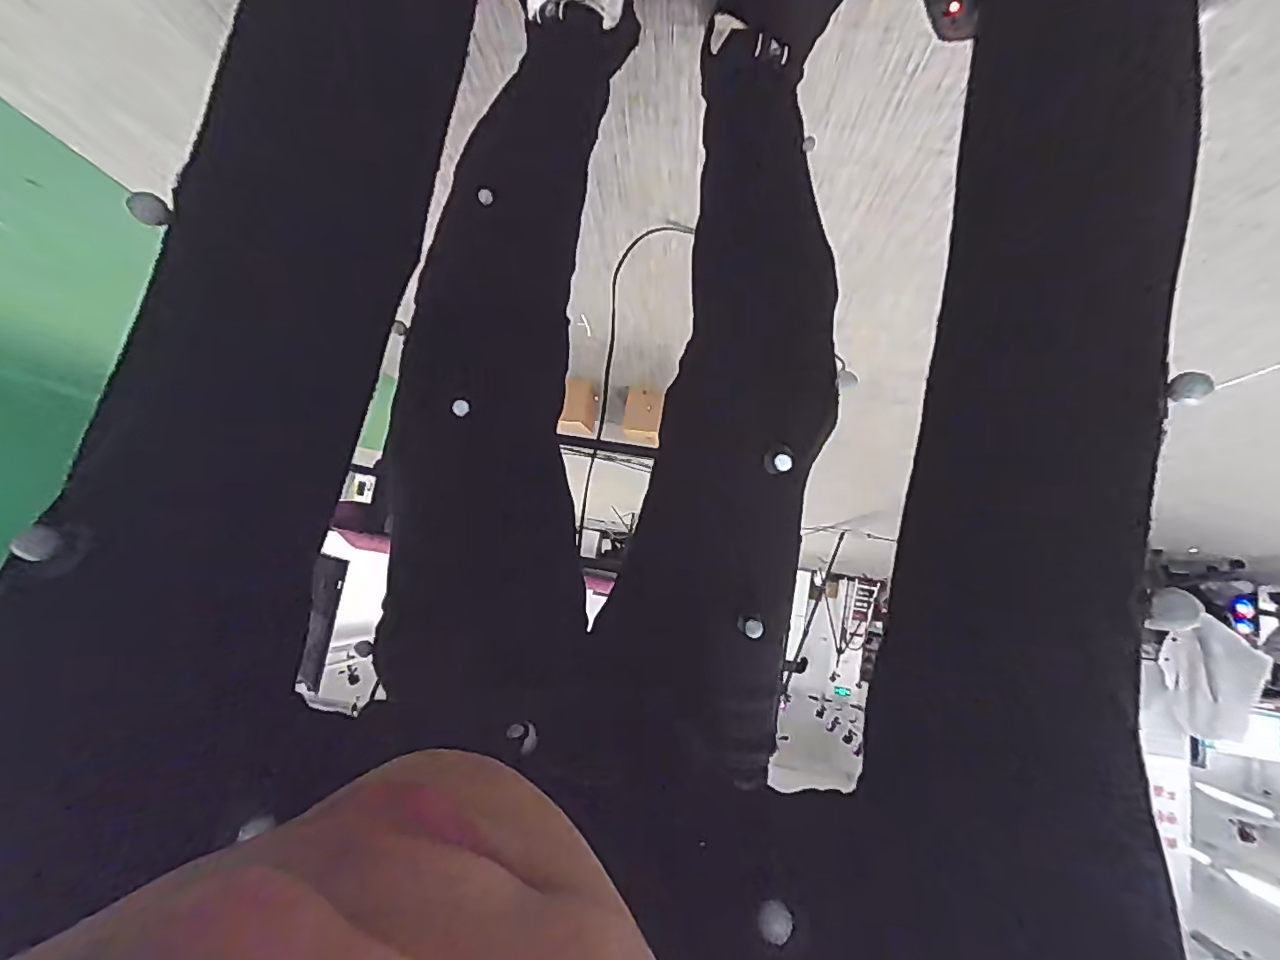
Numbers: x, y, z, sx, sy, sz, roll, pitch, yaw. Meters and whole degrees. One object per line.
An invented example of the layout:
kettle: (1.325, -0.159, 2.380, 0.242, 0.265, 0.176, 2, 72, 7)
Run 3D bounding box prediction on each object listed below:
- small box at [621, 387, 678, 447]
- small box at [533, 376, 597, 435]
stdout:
small box: (0.039, -0.231, 1.969, 0.168, 0.176, 0.179, 7, 170, 14)
small box: (-0.274, -0.279, 2.007, 0.179, 0.176, 0.168, 7, 171, 12)
